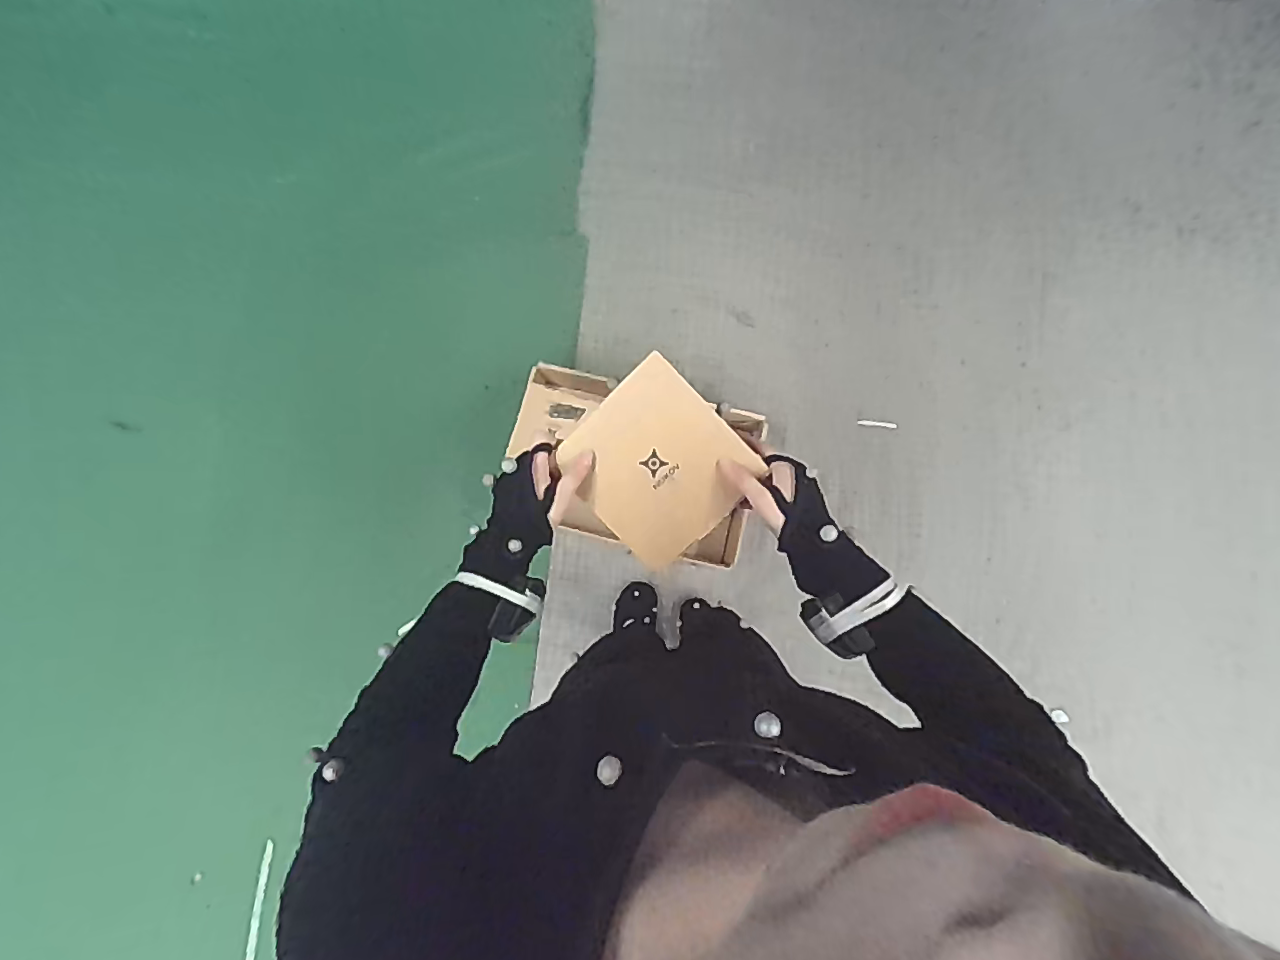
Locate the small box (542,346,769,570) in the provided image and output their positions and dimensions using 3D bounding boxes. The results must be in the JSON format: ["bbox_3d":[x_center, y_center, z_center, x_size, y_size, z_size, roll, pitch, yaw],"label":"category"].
[{"bbox_3d":[0.016,-0.033,0.628,0.179,0.176,0.168,44,100,-8],"label":"small box"}]

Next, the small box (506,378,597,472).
[{"bbox_3d":[-0.186,-0.109,1.237,0.168,0.176,0.179,18,86,1],"label":"small box"}]
